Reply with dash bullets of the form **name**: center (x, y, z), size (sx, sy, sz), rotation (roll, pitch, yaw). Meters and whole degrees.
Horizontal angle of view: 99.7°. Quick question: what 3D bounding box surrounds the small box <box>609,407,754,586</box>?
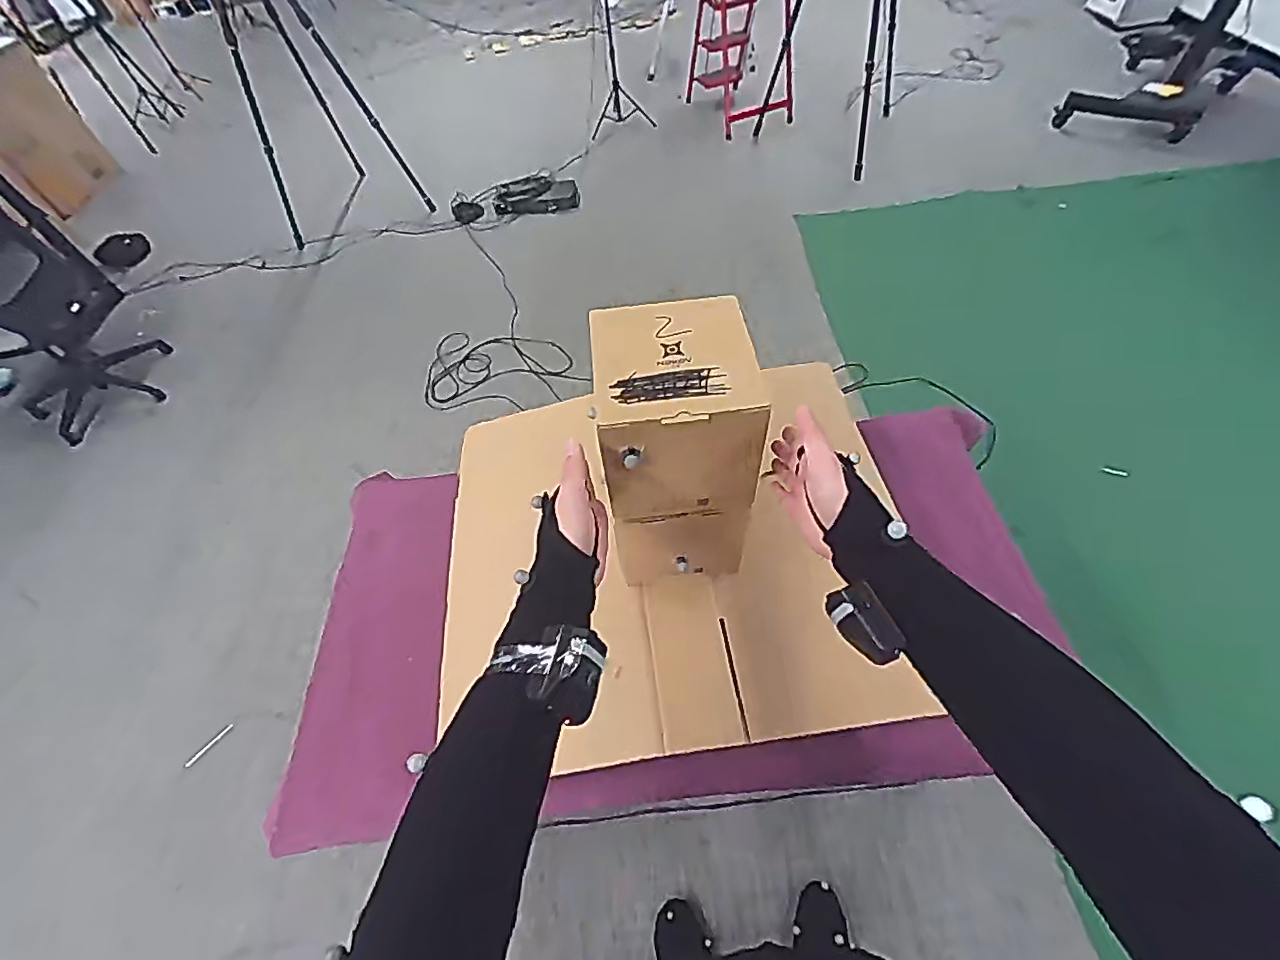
- **small box**: center (0.049, 0.025, 0.741), size (0.168, 0.176, 0.179), rotation (-7, 55, 0)
